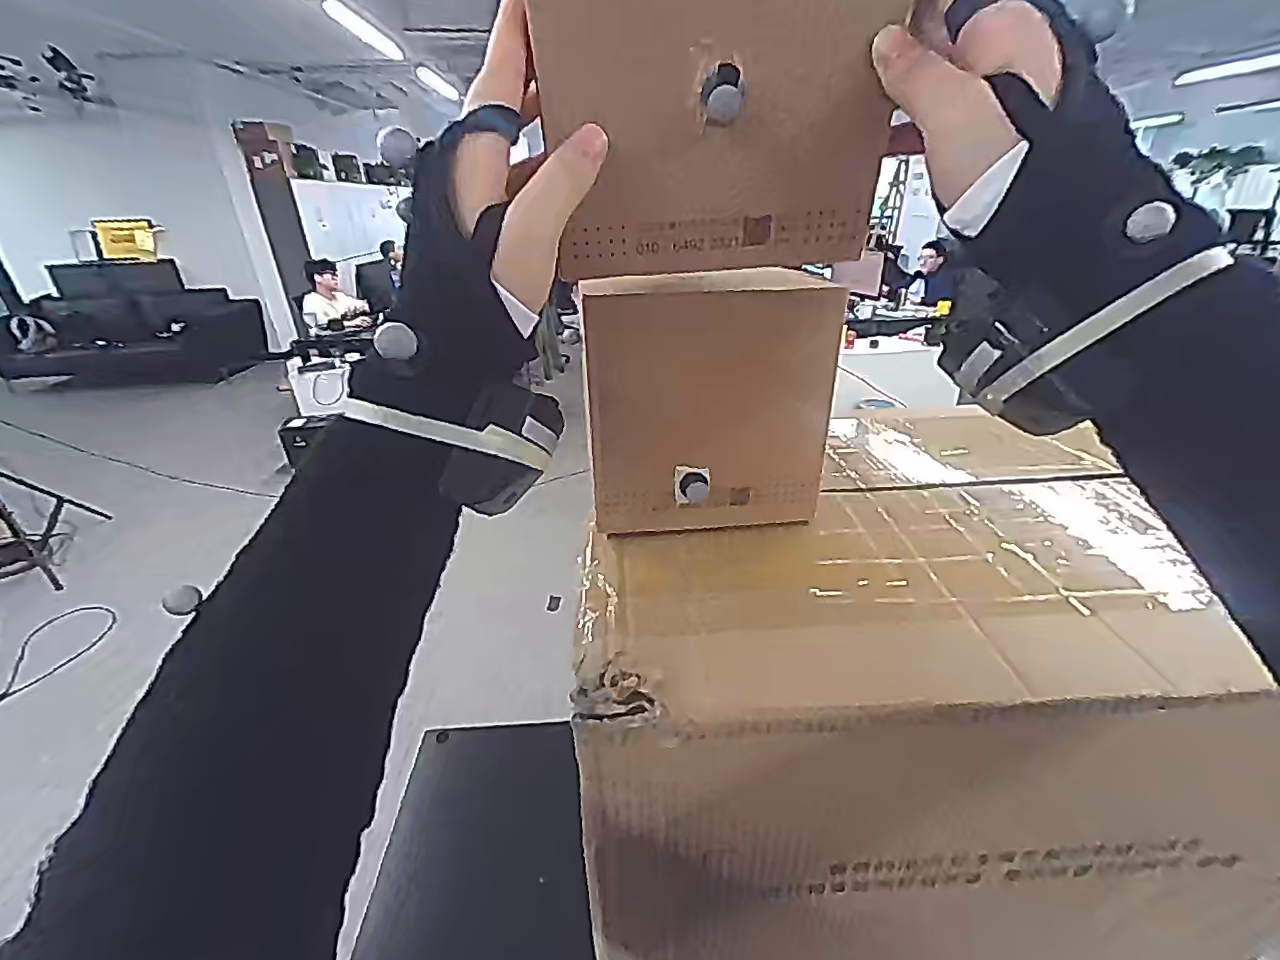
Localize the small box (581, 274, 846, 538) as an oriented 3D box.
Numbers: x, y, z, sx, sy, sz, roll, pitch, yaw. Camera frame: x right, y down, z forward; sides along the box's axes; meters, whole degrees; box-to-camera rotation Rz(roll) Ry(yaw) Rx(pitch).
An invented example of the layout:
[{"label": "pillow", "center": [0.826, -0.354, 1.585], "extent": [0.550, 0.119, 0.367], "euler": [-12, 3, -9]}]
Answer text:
[{"label": "small box", "center": [0.040, -0.071, 0.435], "extent": [0.168, 0.176, 0.179], "euler": [-5, 27, -5]}]

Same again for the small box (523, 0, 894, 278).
[{"label": "small box", "center": [0.029, -0.224, 0.312], "extent": [0.168, 0.176, 0.179], "euler": [-4, 39, -2]}]
